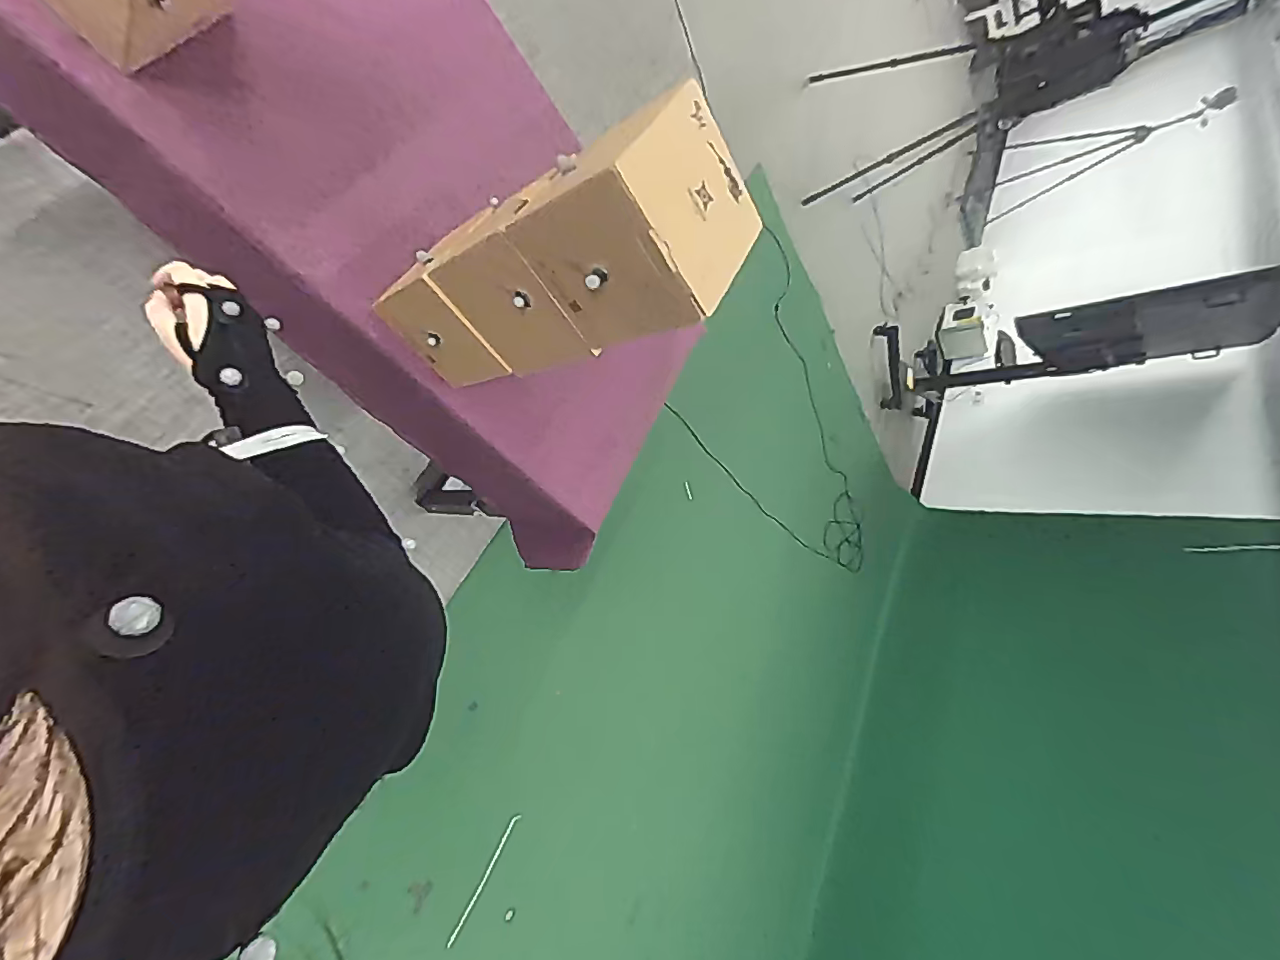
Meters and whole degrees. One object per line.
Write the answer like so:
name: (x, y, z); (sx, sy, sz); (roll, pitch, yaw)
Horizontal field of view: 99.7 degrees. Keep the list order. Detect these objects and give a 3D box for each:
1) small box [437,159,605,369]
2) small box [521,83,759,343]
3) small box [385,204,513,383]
small box: (-0.125, -0.265, 0.703); (0.179, 0.176, 0.168); (51, 56, -34)
small box: (-0.003, -0.274, 0.592); (0.168, 0.176, 0.179); (50, 57, -34)
small box: (-0.250, -0.266, 0.810); (0.168, 0.176, 0.179); (50, 56, -34)
